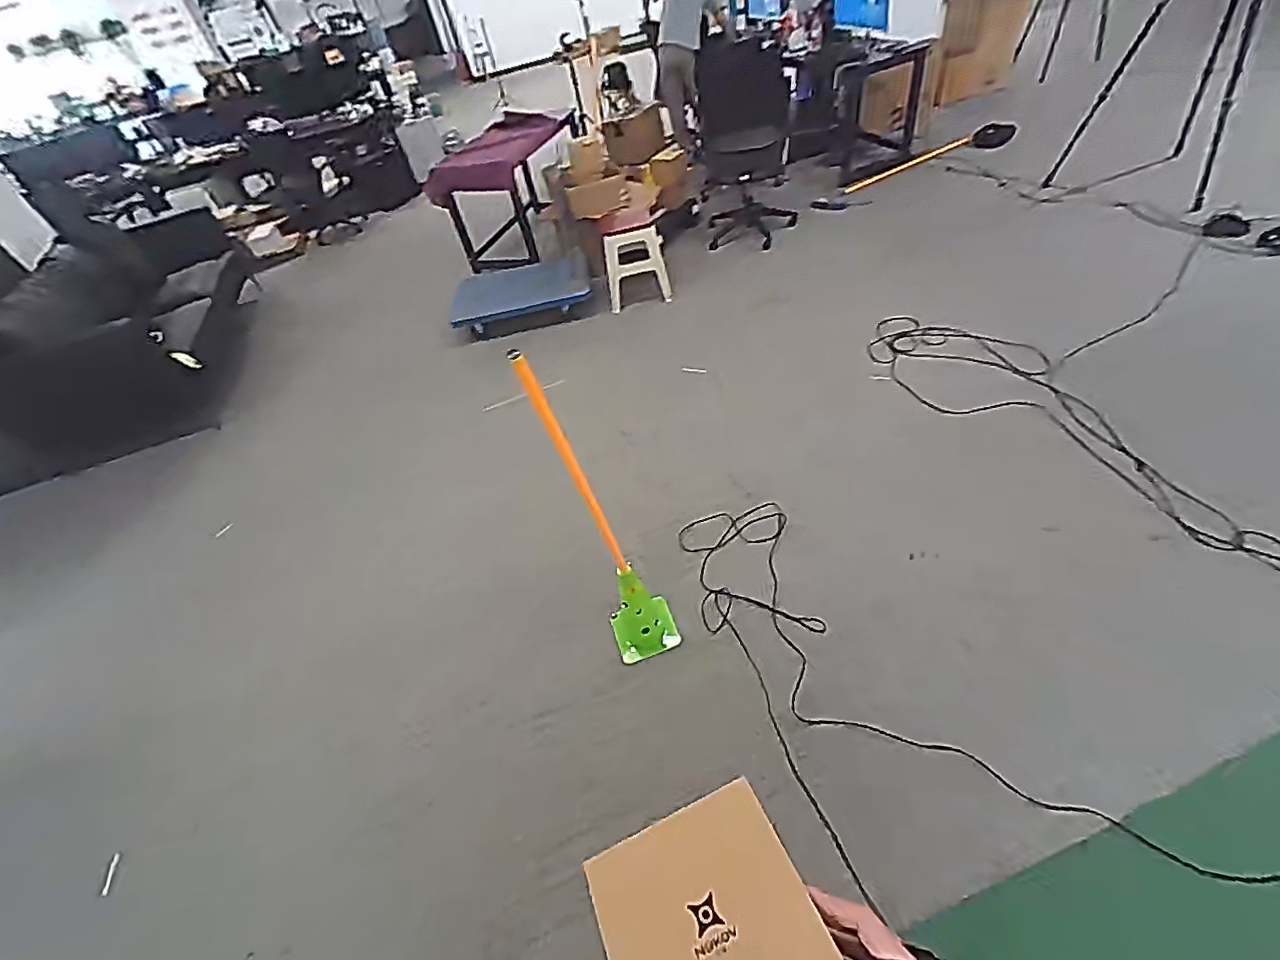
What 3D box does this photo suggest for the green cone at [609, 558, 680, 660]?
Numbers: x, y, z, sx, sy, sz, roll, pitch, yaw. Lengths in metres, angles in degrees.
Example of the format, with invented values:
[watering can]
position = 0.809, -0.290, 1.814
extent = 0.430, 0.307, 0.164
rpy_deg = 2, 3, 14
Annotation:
[green cone]
position = -0.013, 0.366, 1.674
extent = 0.202, 0.368, 0.200
rpy_deg = -19, 46, -7
